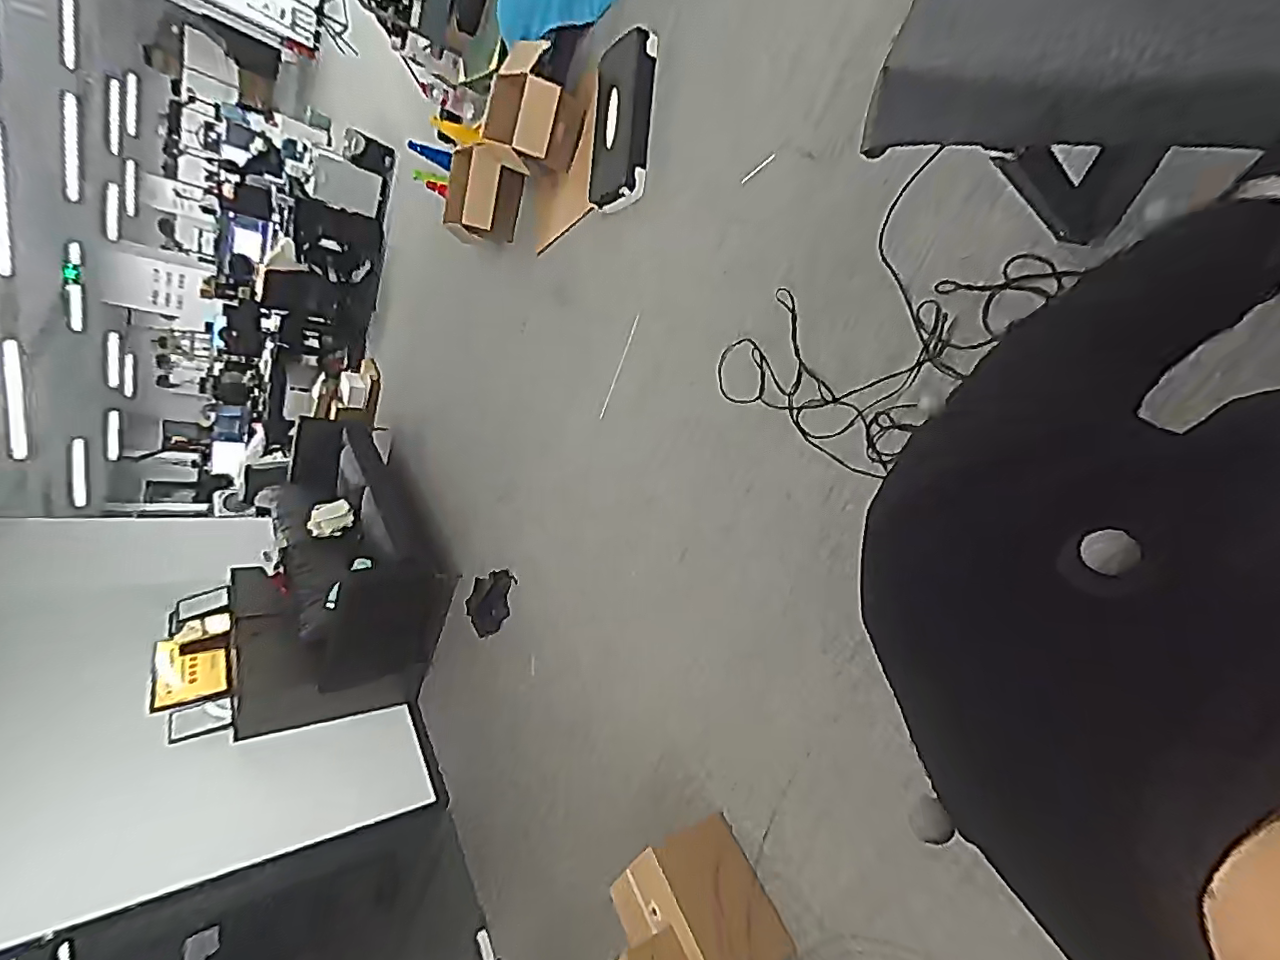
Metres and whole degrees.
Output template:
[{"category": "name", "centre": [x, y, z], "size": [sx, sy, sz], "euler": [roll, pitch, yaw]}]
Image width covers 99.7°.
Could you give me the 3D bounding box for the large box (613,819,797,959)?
[{"category": "large box", "centre": [0.185, 1.346, 1.635], "size": [0.408, 0.320, 0.320], "euler": [54, 125, 39]}]

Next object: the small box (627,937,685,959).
[{"category": "small box", "centre": [0.035, 1.365, 1.433], "size": [0.179, 0.176, 0.168], "euler": [51, 126, 38]}]
